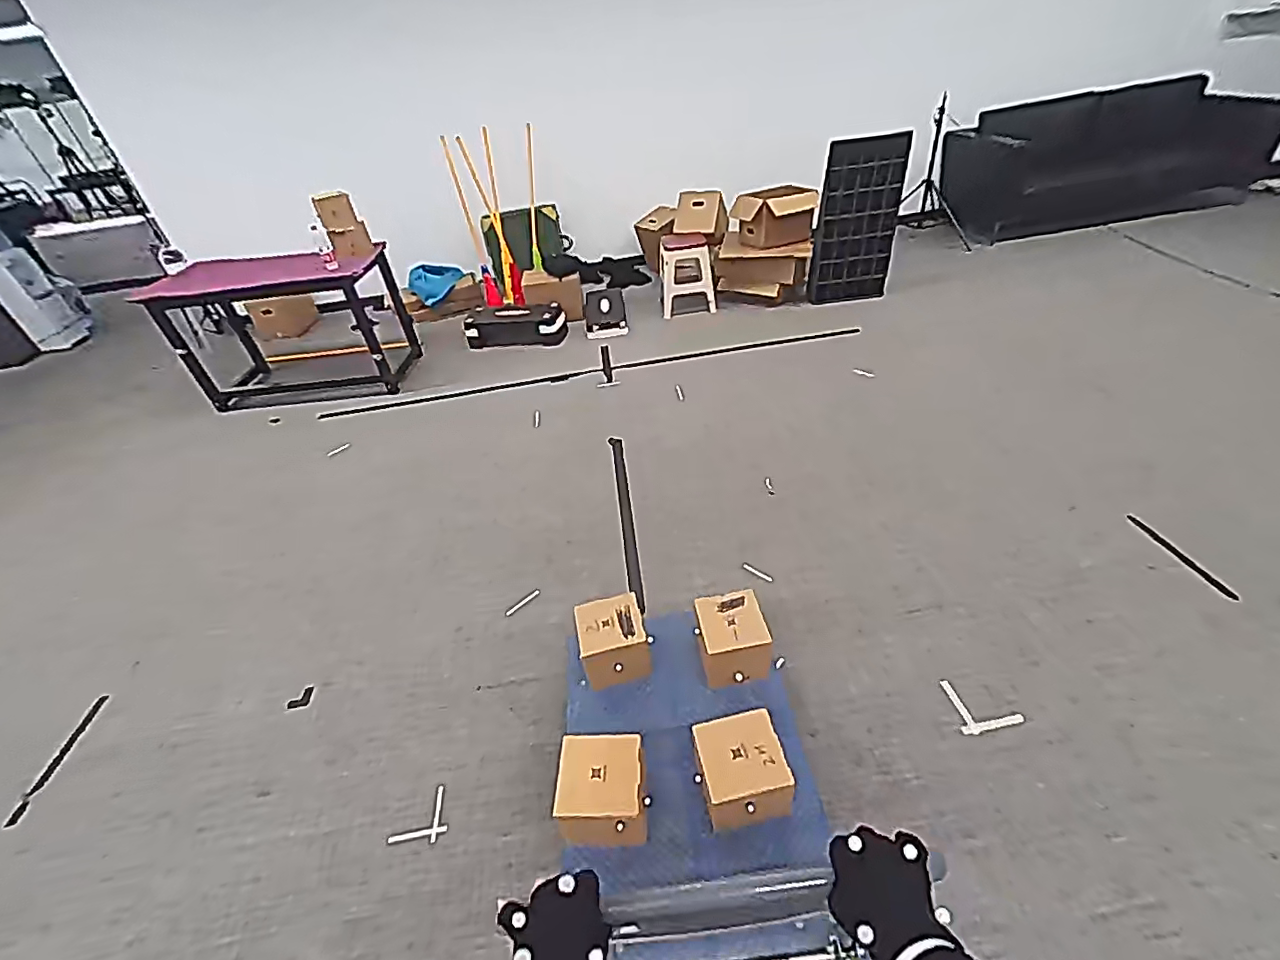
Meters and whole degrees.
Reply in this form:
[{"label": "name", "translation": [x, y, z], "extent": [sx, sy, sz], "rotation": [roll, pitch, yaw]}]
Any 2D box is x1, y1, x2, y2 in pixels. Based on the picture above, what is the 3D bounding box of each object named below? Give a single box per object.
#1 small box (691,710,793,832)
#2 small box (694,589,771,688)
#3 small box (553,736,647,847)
[{"label": "small box", "translation": [0.221, 0.640, 1.187], "extent": [0.179, 0.176, 0.168], "rotation": [-12, 39, -4]}, {"label": "small box", "translation": [0.243, 0.424, 1.449], "extent": [0.168, 0.176, 0.179], "rotation": [-11, 40, -2]}, {"label": "small box", "translation": [-0.080, 0.685, 1.187], "extent": [0.179, 0.176, 0.168], "rotation": [-3, 38, 4]}]
